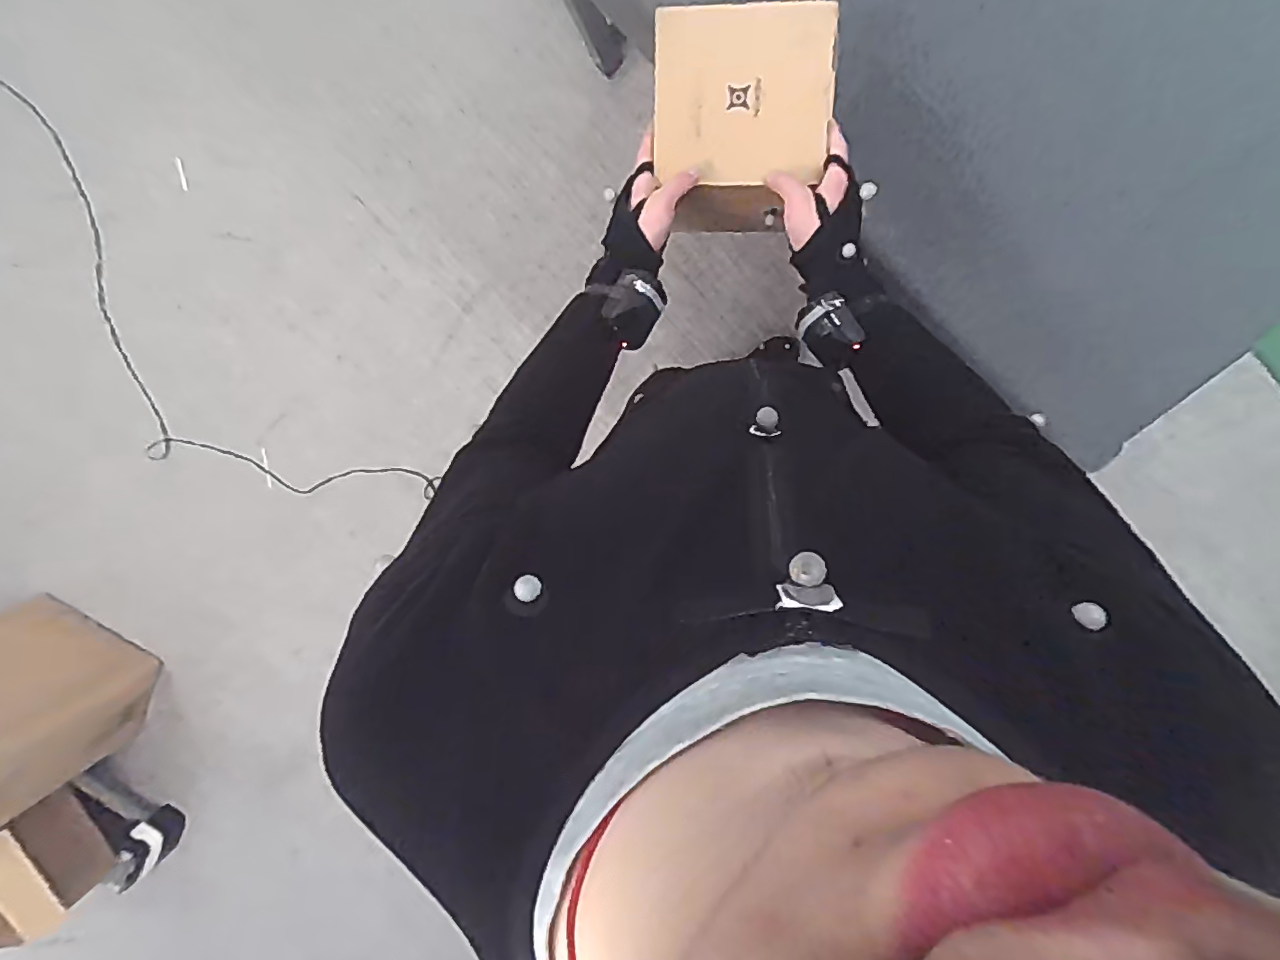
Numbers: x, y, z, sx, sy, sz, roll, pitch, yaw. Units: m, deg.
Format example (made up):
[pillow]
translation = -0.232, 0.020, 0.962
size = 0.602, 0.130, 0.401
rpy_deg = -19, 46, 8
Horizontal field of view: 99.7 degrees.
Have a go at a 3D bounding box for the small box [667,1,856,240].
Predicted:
[small box]
translation = 0.119, -0.375, 0.596
size = 0.179, 0.176, 0.168
rpy_deg = 0, 97, 5
